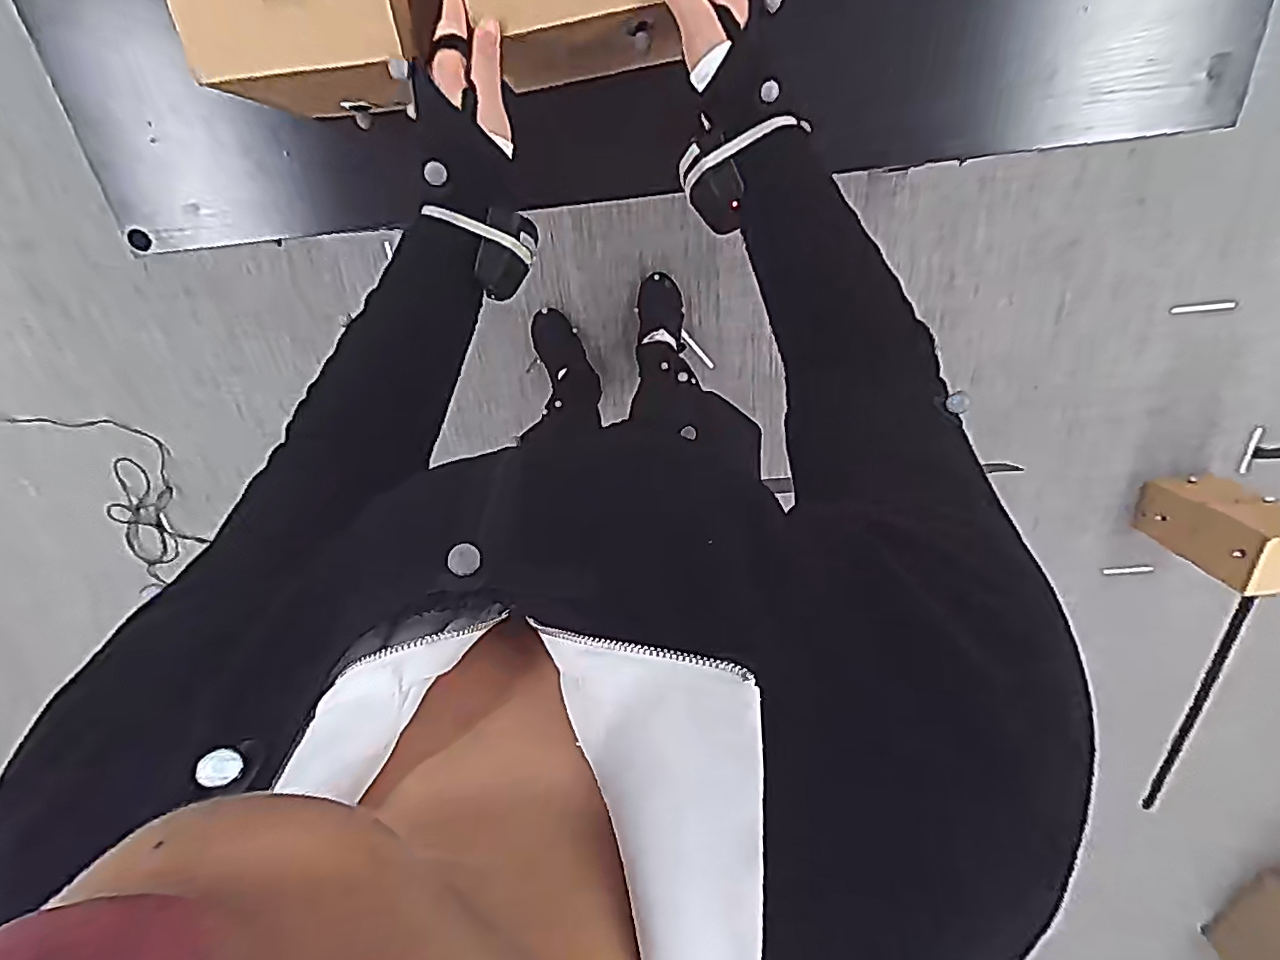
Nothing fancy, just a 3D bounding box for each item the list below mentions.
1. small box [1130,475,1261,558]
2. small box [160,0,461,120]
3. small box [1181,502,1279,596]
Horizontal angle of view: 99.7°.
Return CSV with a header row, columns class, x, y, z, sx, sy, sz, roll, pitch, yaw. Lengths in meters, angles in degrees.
class,x,y,z,sx,sy,sz,roll,pitch,yaw
small box,1.543,0.100,1.518,0.179,0.176,0.168,-7,116,4
small box,-0.266,-0.419,0.442,0.168,0.176,0.179,-5,116,3
small box,1.540,0.166,1.366,0.168,0.176,0.179,-7,116,3
